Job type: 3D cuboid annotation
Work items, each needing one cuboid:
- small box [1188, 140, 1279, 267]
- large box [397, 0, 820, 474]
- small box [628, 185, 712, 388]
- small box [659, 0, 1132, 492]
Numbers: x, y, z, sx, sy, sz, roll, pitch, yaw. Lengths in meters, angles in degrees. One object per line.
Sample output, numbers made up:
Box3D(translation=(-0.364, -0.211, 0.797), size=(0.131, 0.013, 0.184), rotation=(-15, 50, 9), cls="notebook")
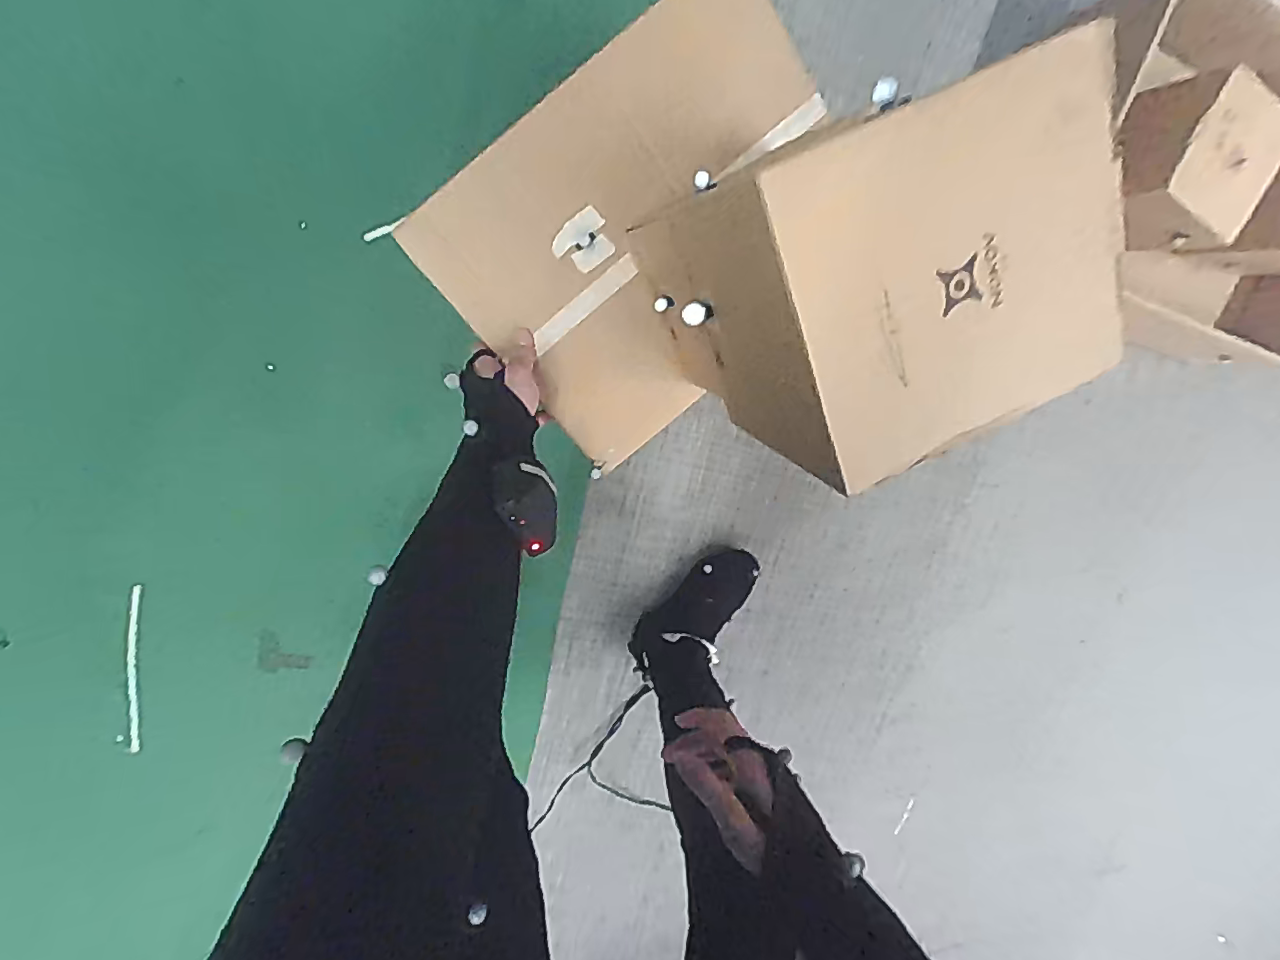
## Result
Box3D(translation=(1.061, -0.443, 0.865), size=(0.179, 0.176, 0.168), rotation=(6, 107, -14), cls="small box")
Box3D(translation=(-0.010, -0.287, 0.671), size=(0.408, 0.320, 0.320), rotation=(-40, 111, 4), cls="large box")
Box3D(translation=(0.111, -0.187, 0.470), size=(0.179, 0.176, 0.168), rotation=(-29, 114, -1), cls="small box")
Box3D(translation=(0.132, -0.124, 0.320), size=(0.179, 0.176, 0.168), rotation=(-25, 113, -3), cls="small box")
